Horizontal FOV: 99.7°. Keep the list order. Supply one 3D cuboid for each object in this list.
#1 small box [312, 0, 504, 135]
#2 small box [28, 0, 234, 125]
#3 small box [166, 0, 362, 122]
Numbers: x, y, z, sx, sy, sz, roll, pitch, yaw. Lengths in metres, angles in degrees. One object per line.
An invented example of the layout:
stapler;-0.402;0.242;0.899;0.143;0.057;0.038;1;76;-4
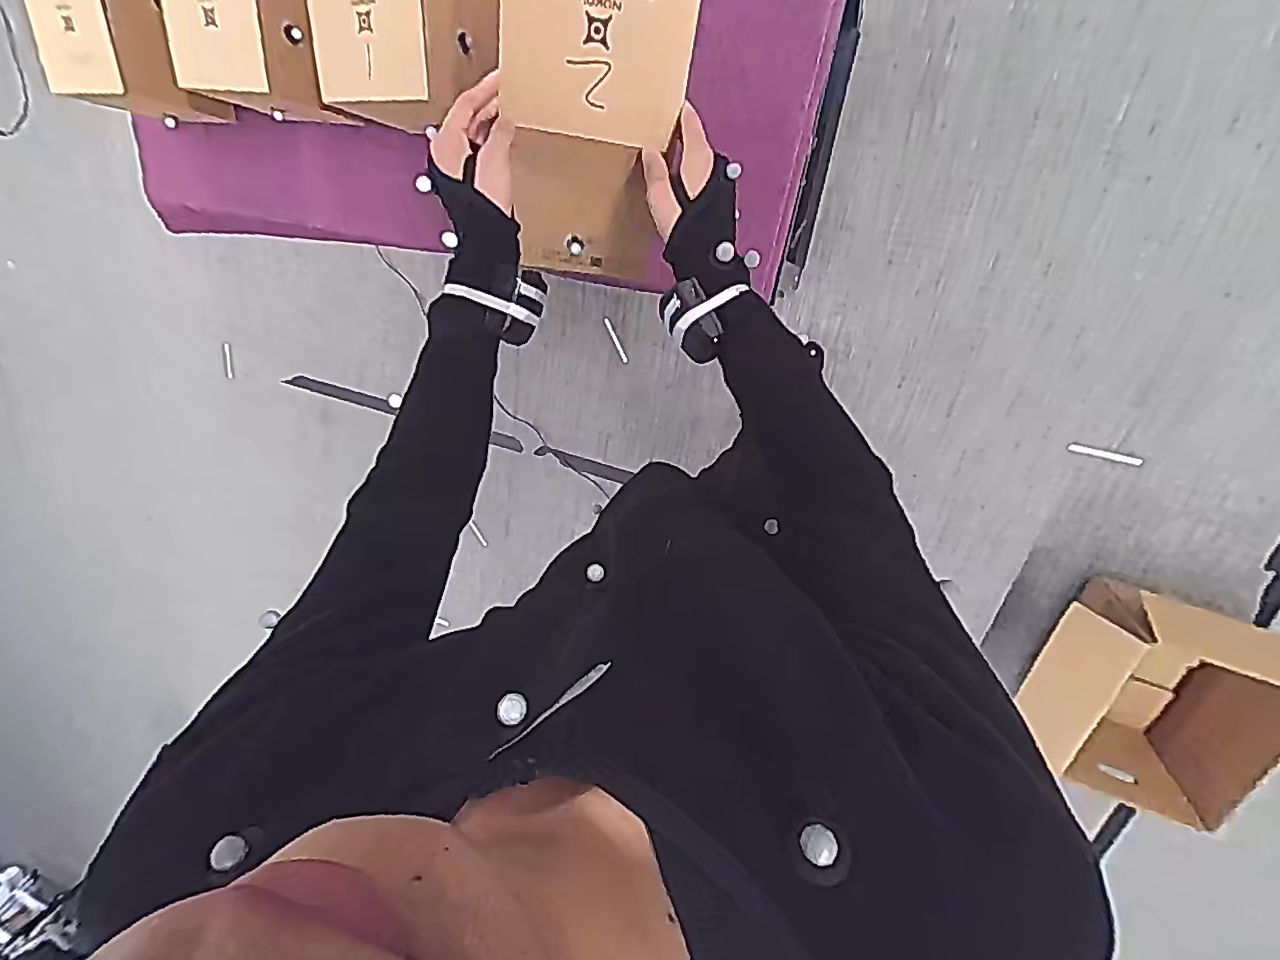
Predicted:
small box;-0.291;-0.573;0.704;0.168;0.176;0.179;10;113;16
small box;-0.779;-0.678;0.838;0.168;0.176;0.179;12;112;16
small box;-0.519;-0.628;0.764;0.168;0.176;0.179;14;113;14
